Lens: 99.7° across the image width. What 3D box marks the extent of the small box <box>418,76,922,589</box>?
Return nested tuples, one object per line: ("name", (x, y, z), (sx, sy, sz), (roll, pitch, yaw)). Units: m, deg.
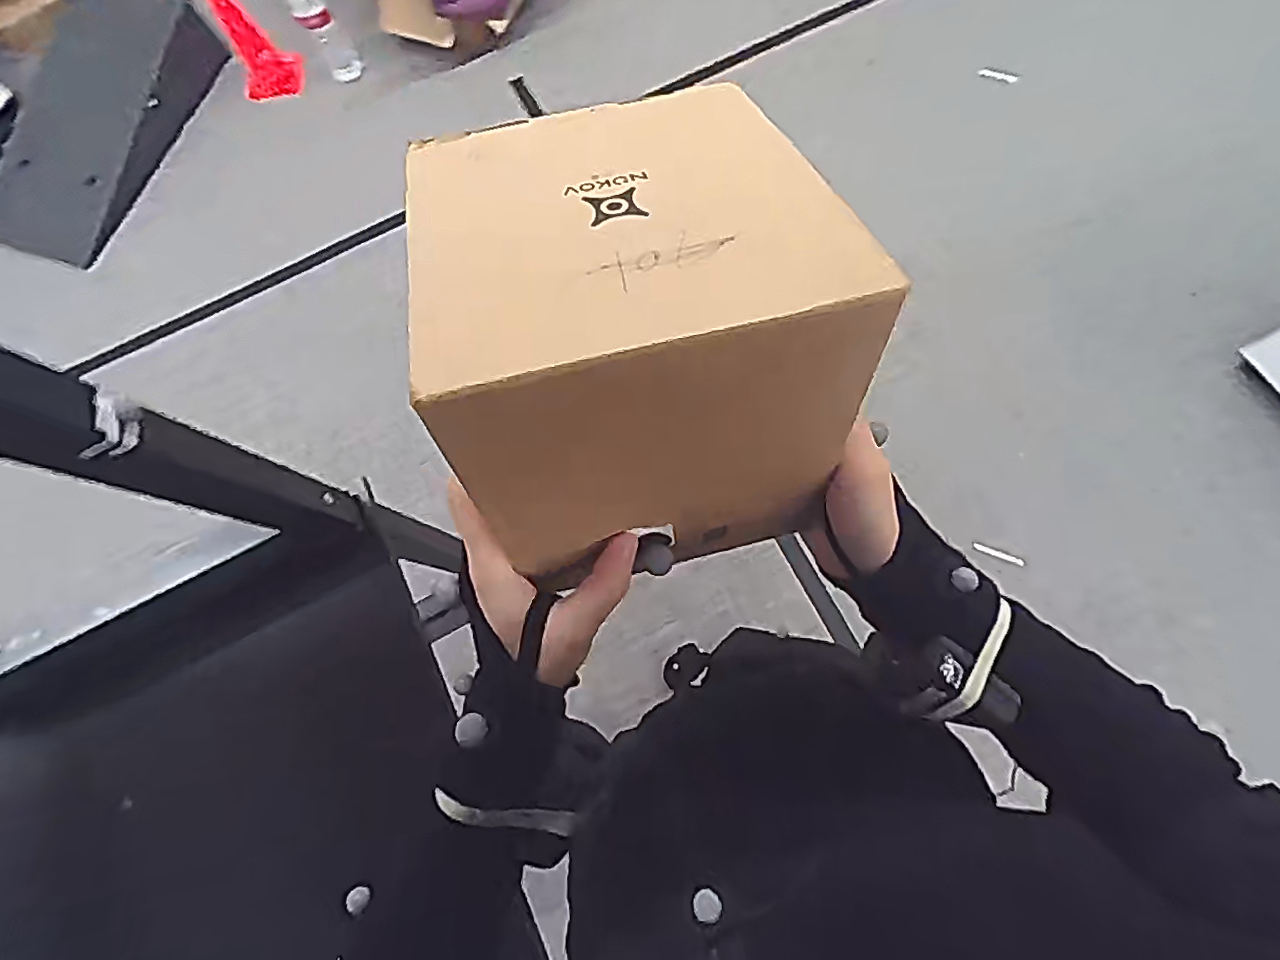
("small box", (-0.001, -0.069, 0.281), (0.168, 0.176, 0.179), (-14, 57, -4))
